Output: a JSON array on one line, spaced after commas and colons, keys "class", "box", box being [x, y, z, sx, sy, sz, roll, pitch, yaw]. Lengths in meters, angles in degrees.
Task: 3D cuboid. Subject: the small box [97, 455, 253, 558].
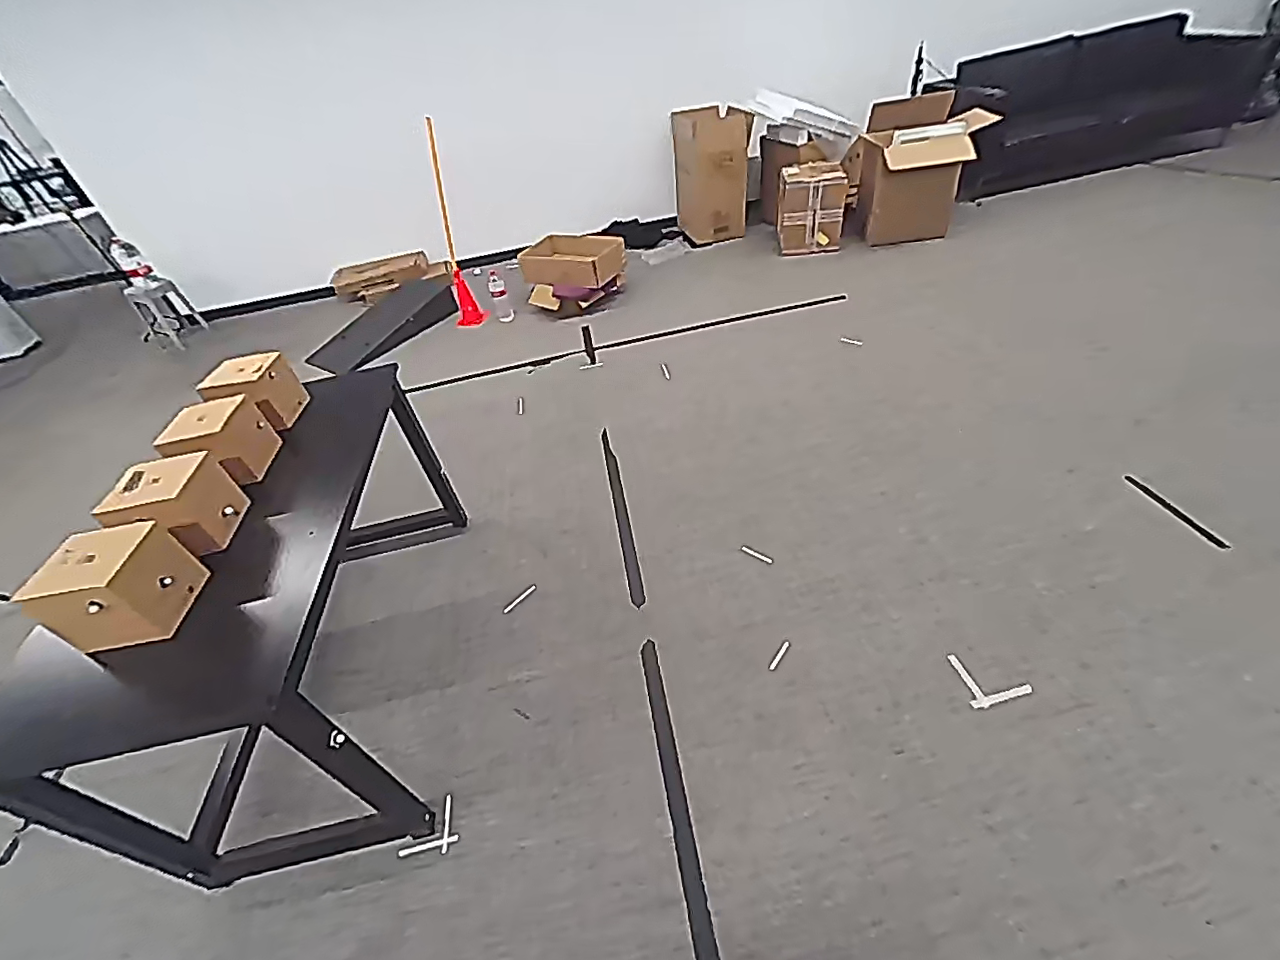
[{"class": "small box", "box": [-1.041, 0.071, 1.230, 0.179, 0.176, 0.168, -12, 41, -4]}]

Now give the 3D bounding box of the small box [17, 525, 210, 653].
[{"class": "small box", "box": [-1.009, 0.215, 1.060, 0.179, 0.176, 0.168, -11, 40, 0]}]

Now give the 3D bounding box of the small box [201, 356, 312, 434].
[{"class": "small box", "box": [-1.122, -0.240, 1.599, 0.179, 0.176, 0.168, -10, 42, 3]}]

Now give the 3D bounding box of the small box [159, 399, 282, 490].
[{"class": "small box", "box": [-1.084, -0.085, 1.419, 0.168, 0.176, 0.179, -13, 42, -1]}]
